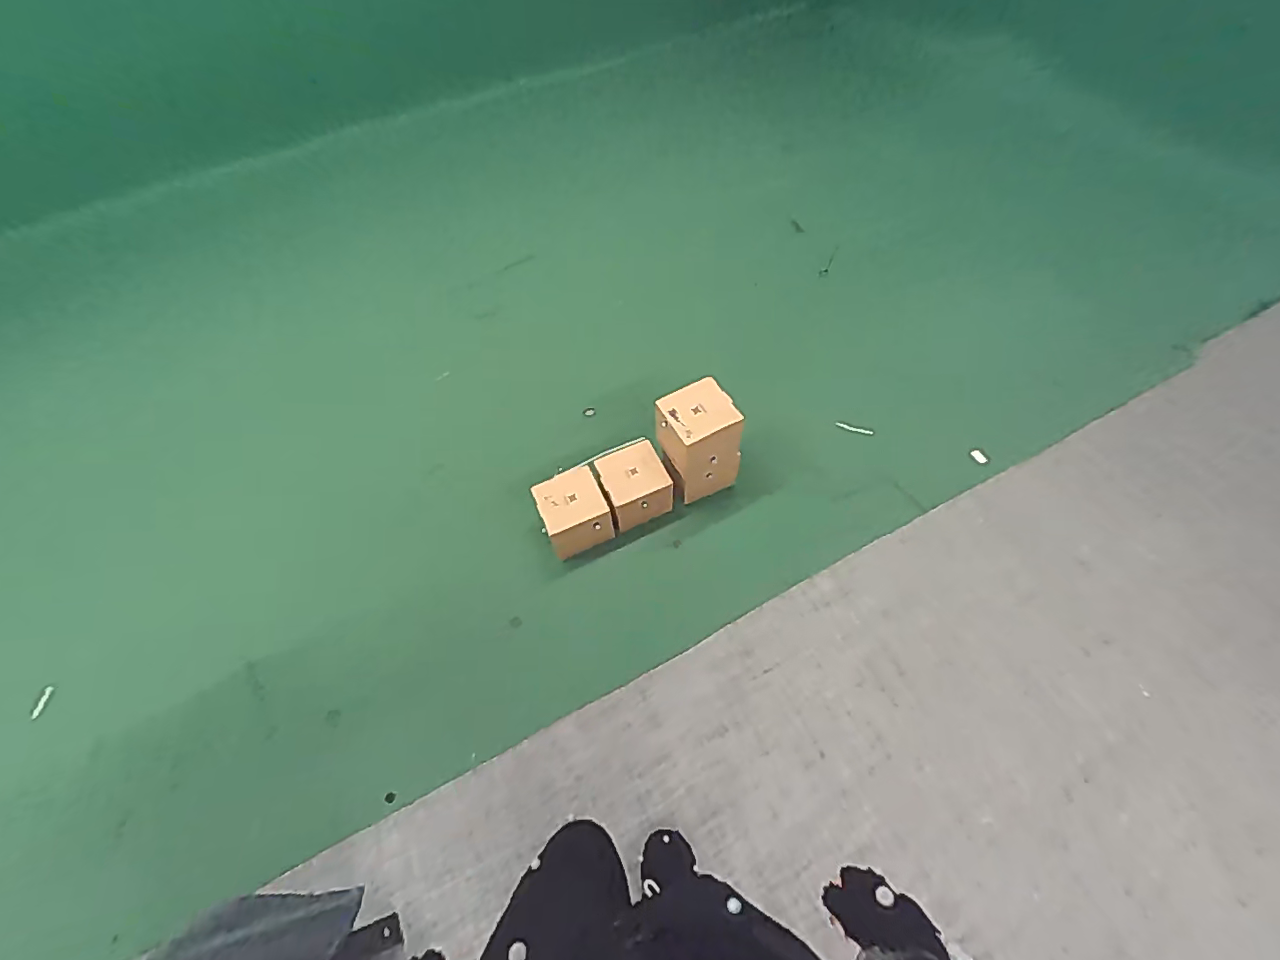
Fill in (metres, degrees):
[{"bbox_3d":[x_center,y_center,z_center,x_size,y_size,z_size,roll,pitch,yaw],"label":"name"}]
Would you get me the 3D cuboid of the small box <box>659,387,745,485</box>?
[{"bbox_3d":[0.161,-0.117,1.469,0.179,0.176,0.168,-24,60,-12],"label":"small box"}]
